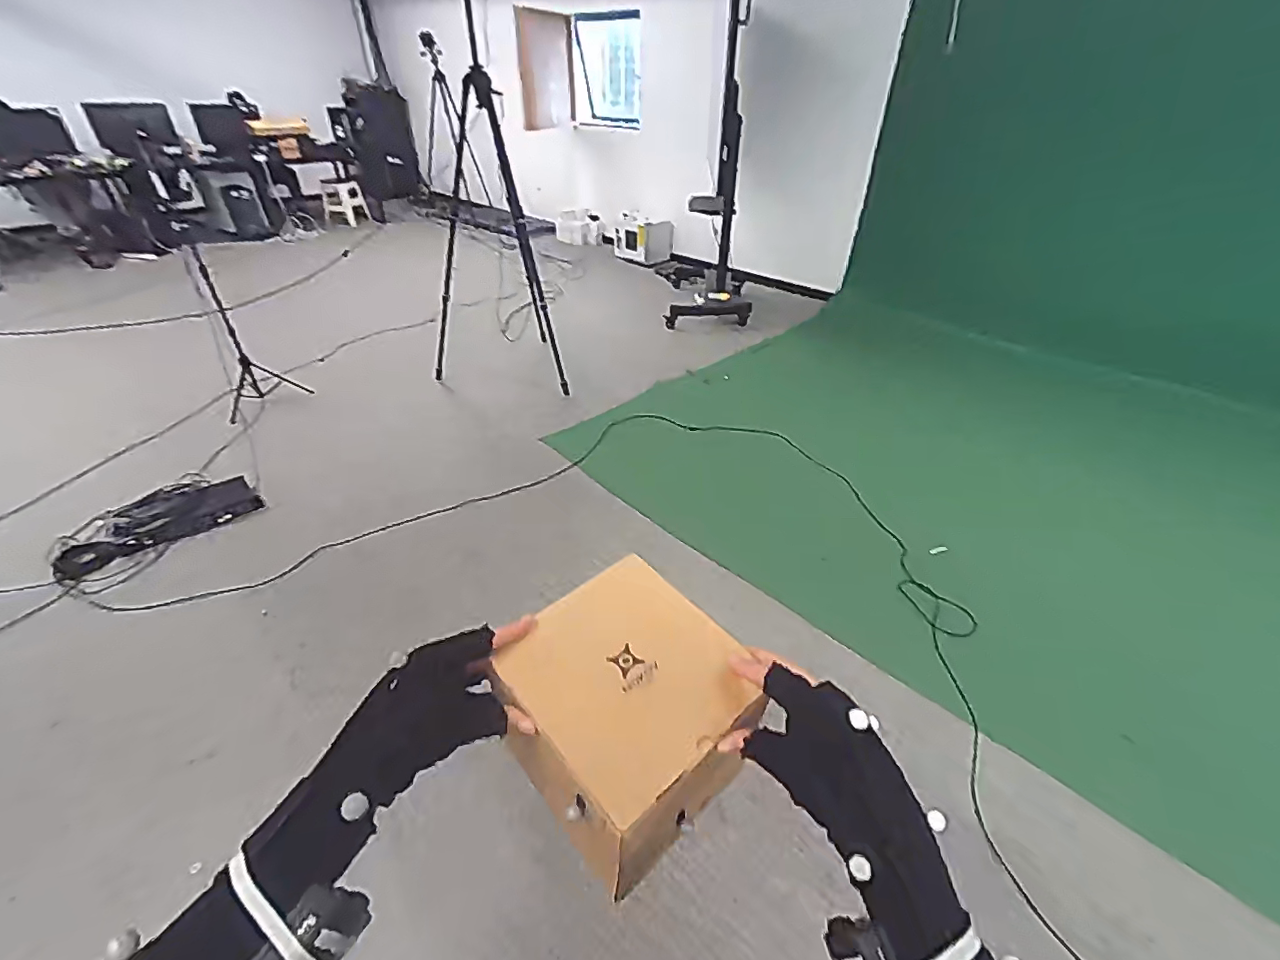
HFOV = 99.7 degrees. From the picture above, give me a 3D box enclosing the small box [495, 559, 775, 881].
[{"bbox_3d":[-0.011,0.212,0.493,0.168,0.176,0.179,-28,51,-33],"label":"small box"}]
